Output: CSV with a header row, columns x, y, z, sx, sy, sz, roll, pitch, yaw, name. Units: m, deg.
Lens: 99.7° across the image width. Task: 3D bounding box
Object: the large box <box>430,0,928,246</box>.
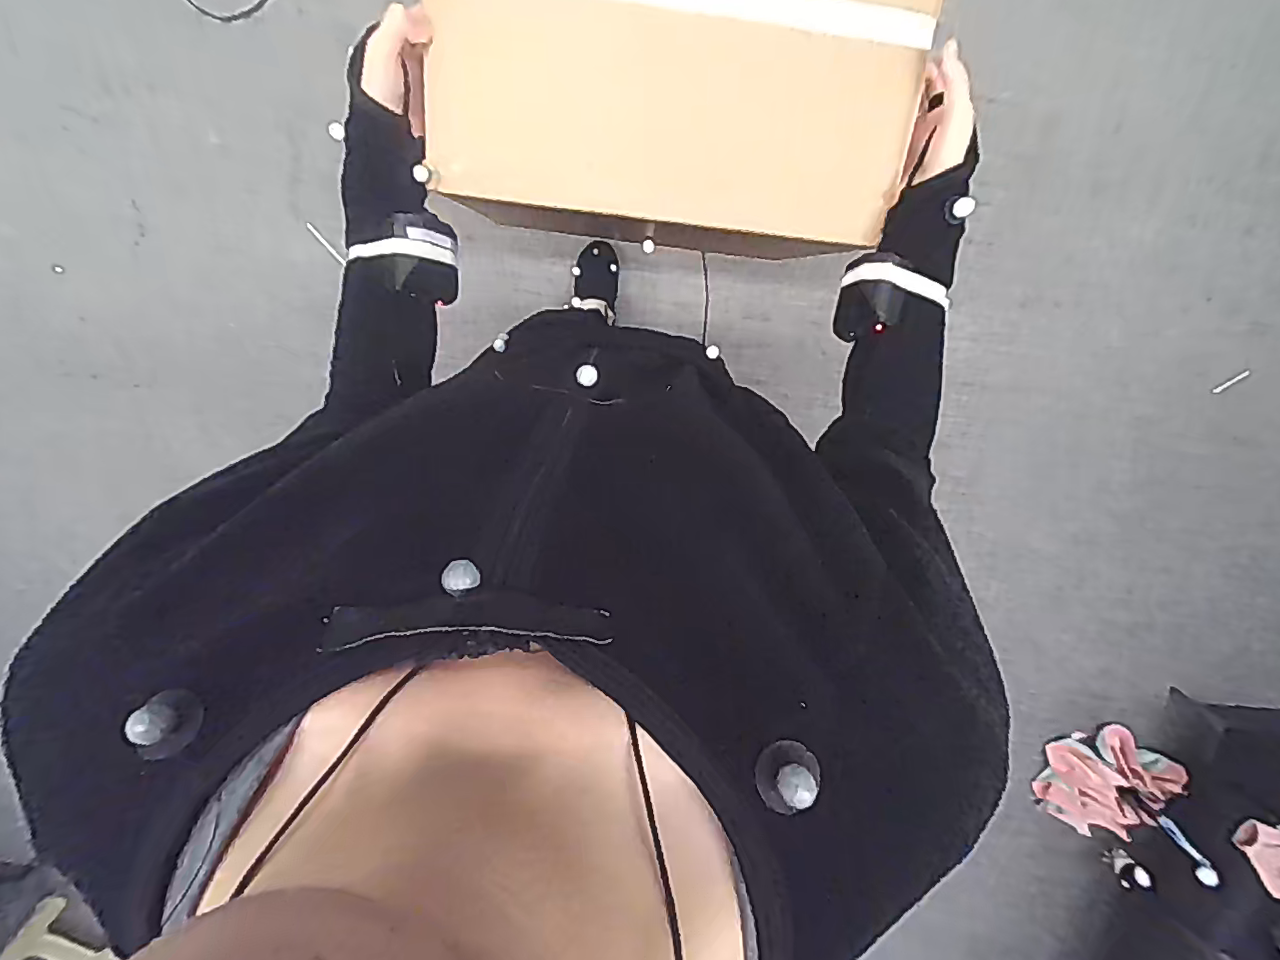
x,y,z,sx,sy,sz,roll,pitch,yaw,name
0.028,-0.433,0.569,0.408,0.320,0.320,5,109,-5,large box
